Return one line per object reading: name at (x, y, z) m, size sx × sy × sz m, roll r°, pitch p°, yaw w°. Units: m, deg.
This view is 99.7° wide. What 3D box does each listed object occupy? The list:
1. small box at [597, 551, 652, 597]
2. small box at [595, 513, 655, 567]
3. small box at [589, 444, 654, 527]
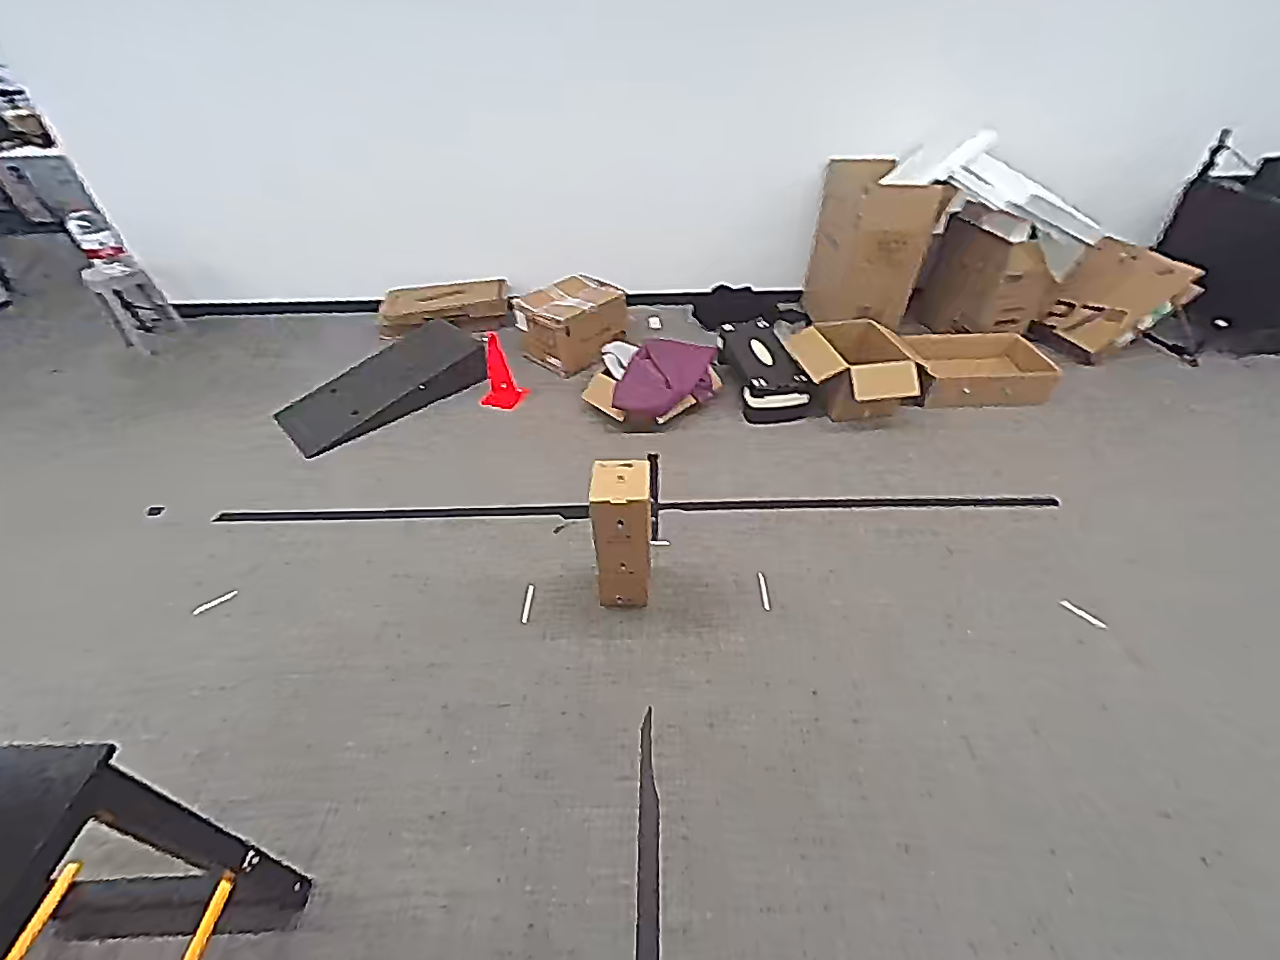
small box at (-0.046, 0.258, 1.743) m, size 0.168 × 0.176 × 0.179 m, roll -2°, pitch 43°, yaw 1°
small box at (-0.041, 0.141, 1.626) m, size 0.168 × 0.176 × 0.179 m, roll -2°, pitch 42°, yaw 2°
small box at (-0.046, 0.020, 1.516) m, size 0.168 × 0.176 × 0.179 m, roll -1°, pitch 42°, yaw 2°
